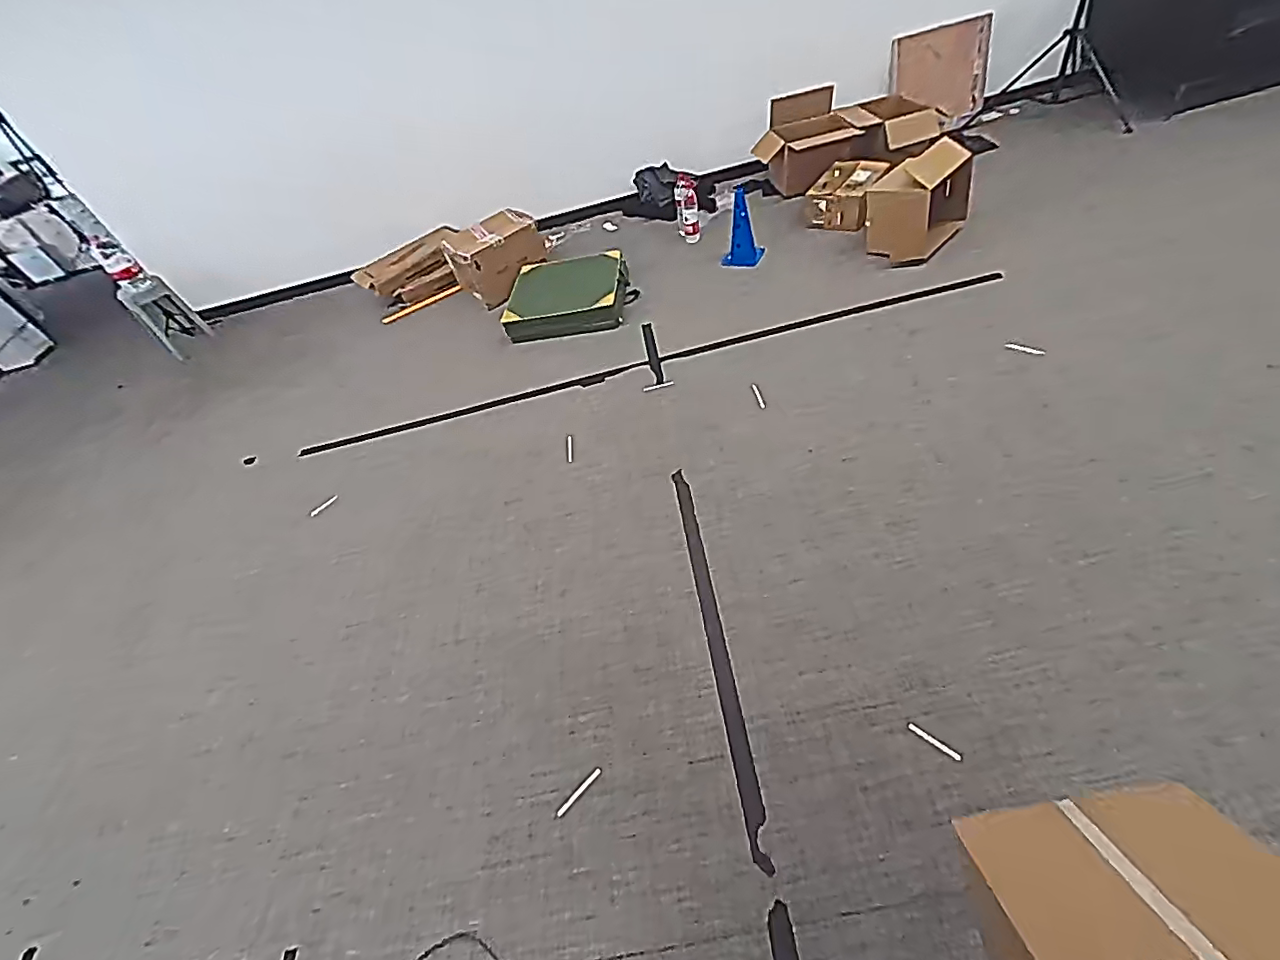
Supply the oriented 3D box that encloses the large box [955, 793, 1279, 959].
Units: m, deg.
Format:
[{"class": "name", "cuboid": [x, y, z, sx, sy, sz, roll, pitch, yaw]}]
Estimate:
[{"class": "large box", "cuboid": [0.619, 0.632, 0.583, 0.320, 0.320, 0.408, -16, 3, 8]}]
